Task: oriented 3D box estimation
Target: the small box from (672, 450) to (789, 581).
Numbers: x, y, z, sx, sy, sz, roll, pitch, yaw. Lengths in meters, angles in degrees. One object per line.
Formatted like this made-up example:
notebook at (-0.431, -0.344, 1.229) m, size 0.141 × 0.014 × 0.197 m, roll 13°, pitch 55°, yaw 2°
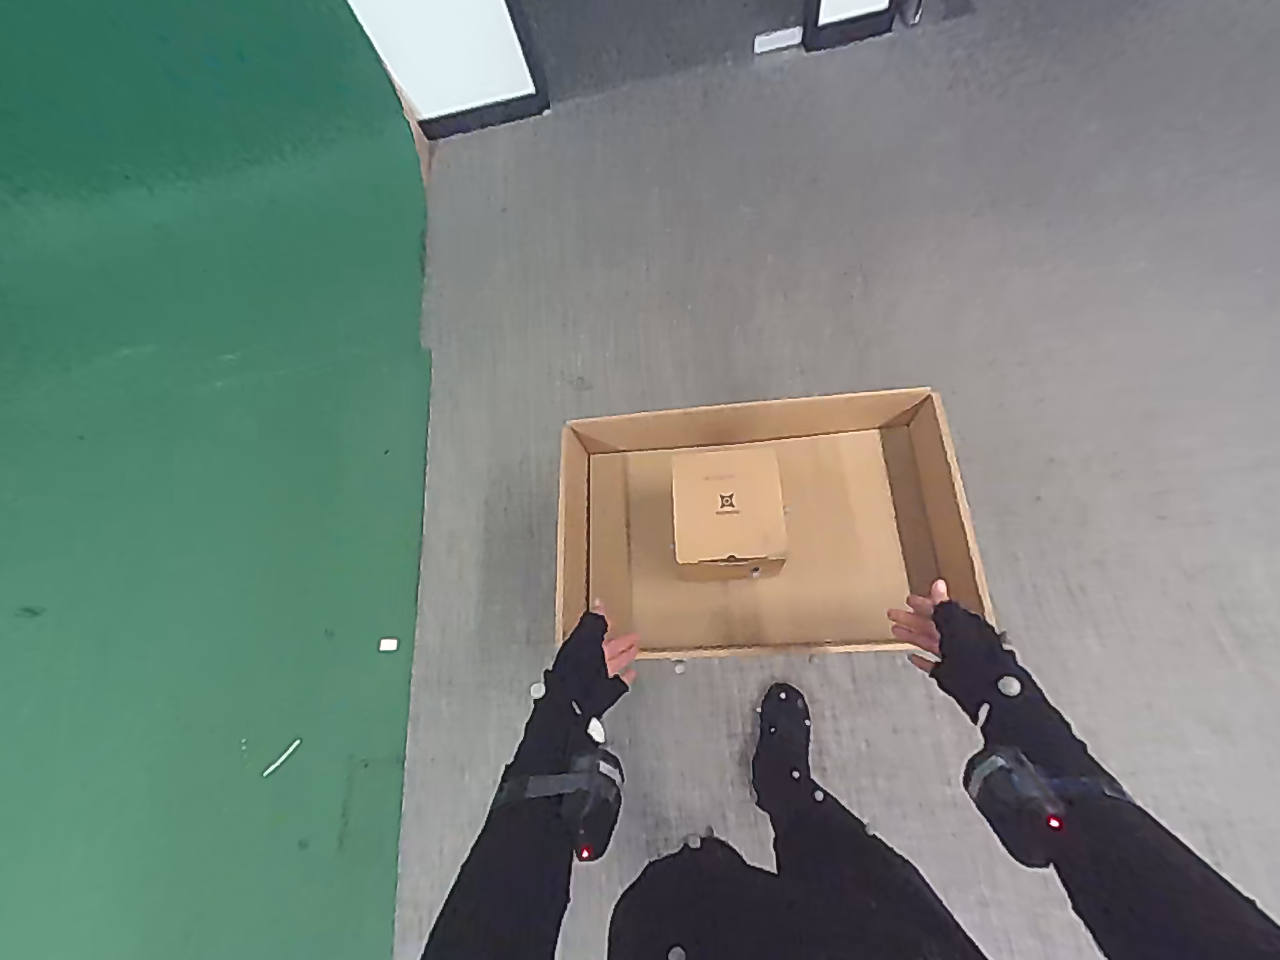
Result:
small box at (0.144, 0.068, 0.890) m, size 0.168 × 0.176 × 0.179 m, roll -4°, pitch 68°, yaw 6°
